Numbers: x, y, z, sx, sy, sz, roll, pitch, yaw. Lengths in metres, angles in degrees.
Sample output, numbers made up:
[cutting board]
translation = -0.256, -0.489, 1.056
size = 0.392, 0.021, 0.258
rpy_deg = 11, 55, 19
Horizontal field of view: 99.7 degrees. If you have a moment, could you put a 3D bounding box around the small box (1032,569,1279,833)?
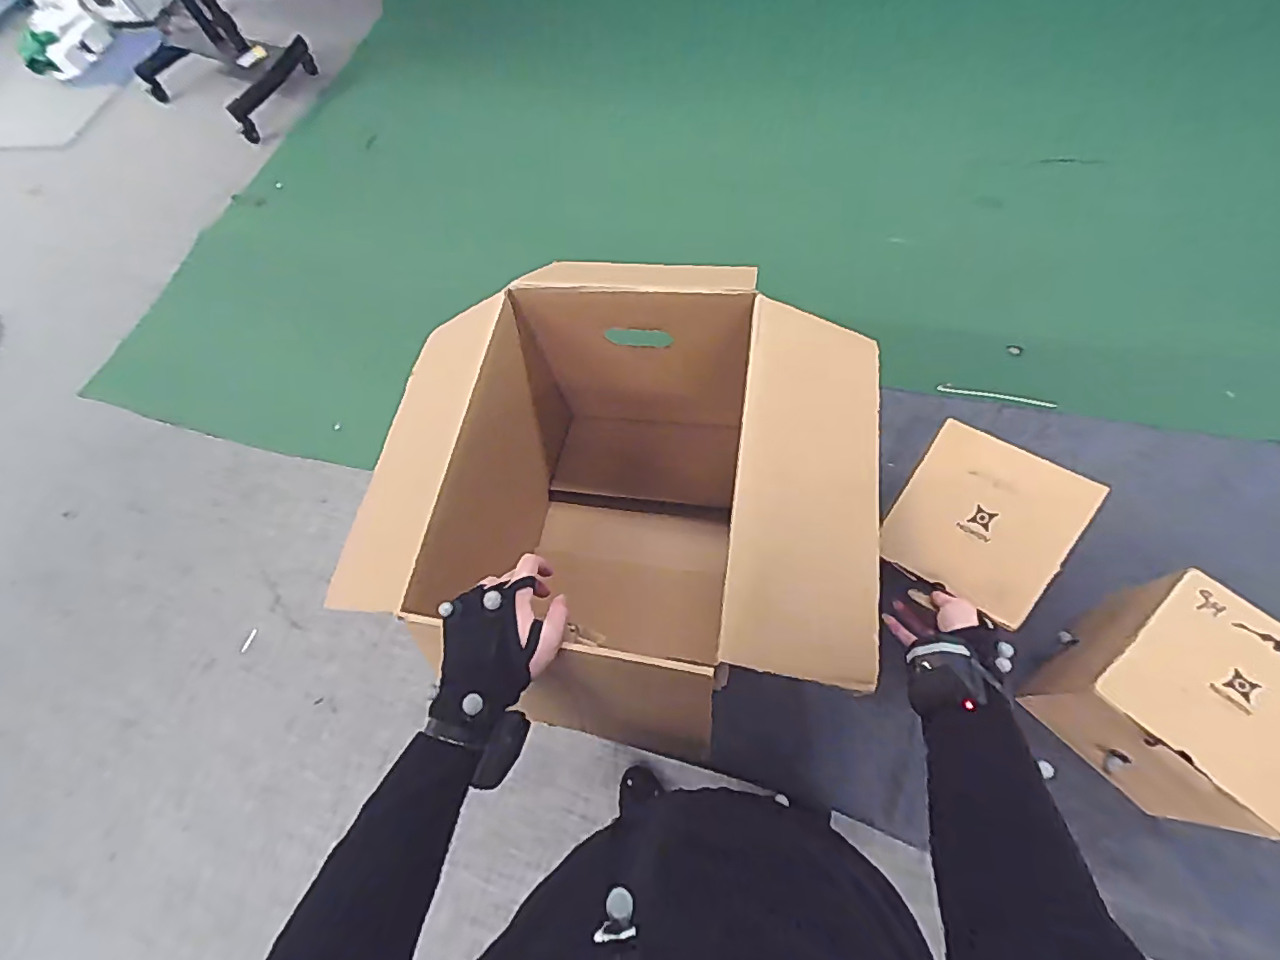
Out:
[small box]
translation = 0.569, 0.230, 0.578
size = 0.179, 0.176, 0.168
rpy_deg = -41, 66, -8
